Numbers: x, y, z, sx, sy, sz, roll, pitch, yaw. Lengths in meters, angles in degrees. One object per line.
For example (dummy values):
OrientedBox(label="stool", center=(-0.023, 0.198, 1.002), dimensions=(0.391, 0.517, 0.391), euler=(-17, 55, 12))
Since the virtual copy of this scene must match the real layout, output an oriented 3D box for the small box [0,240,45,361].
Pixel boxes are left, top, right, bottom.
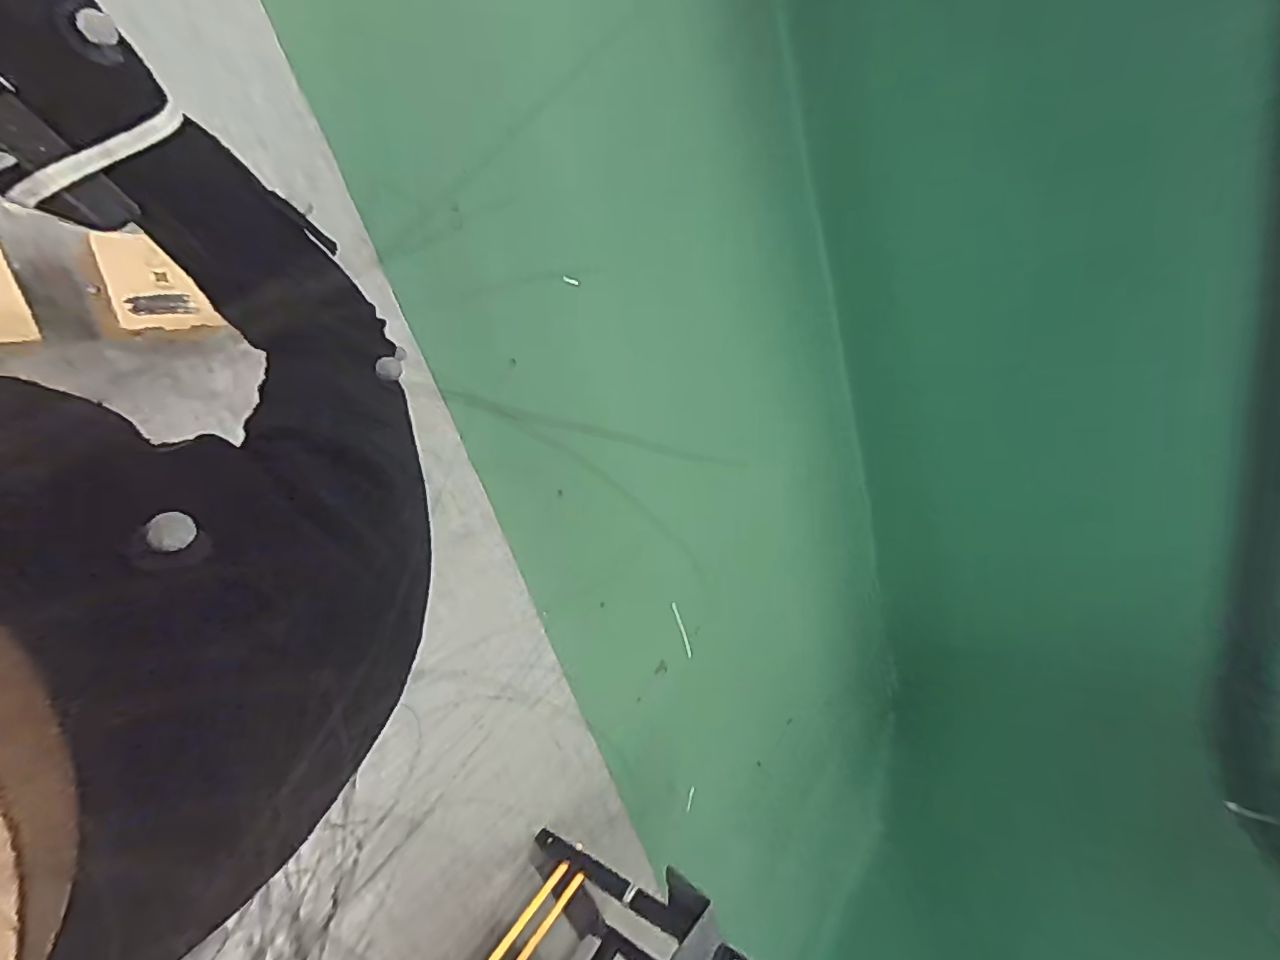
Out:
OrientedBox(label="small box", center=(-1.134, -0.291, 0.888), dimensions=(0.168, 0.176, 0.179), euler=(-26, 110, -45))
